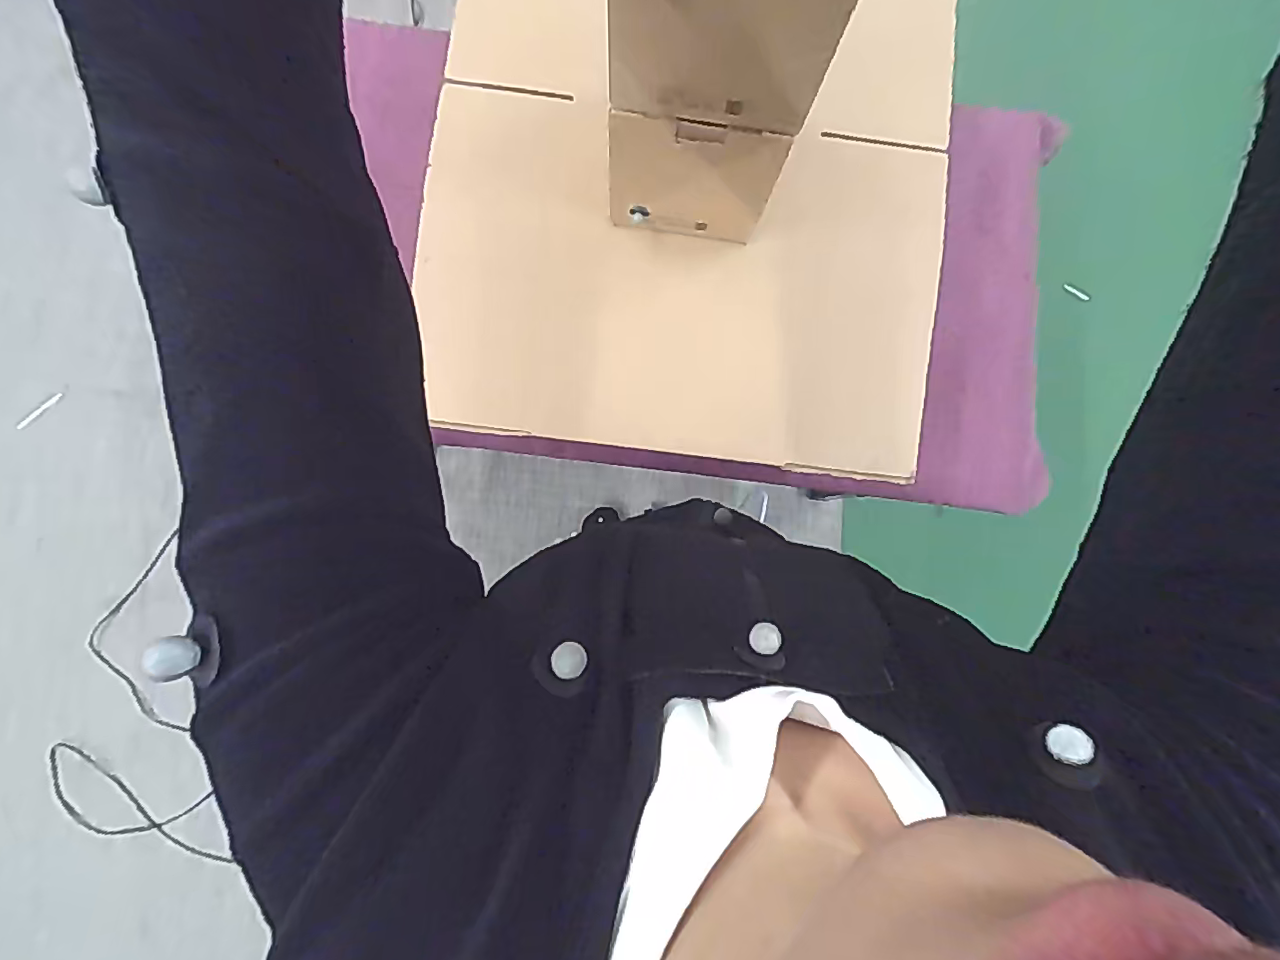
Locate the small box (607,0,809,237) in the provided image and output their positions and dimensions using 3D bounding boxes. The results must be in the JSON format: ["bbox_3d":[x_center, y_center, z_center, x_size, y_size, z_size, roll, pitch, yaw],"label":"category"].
[{"bbox_3d":[0.062,-0.380,0.555,0.168,0.176,0.179,8,83,-1],"label":"small box"}]
